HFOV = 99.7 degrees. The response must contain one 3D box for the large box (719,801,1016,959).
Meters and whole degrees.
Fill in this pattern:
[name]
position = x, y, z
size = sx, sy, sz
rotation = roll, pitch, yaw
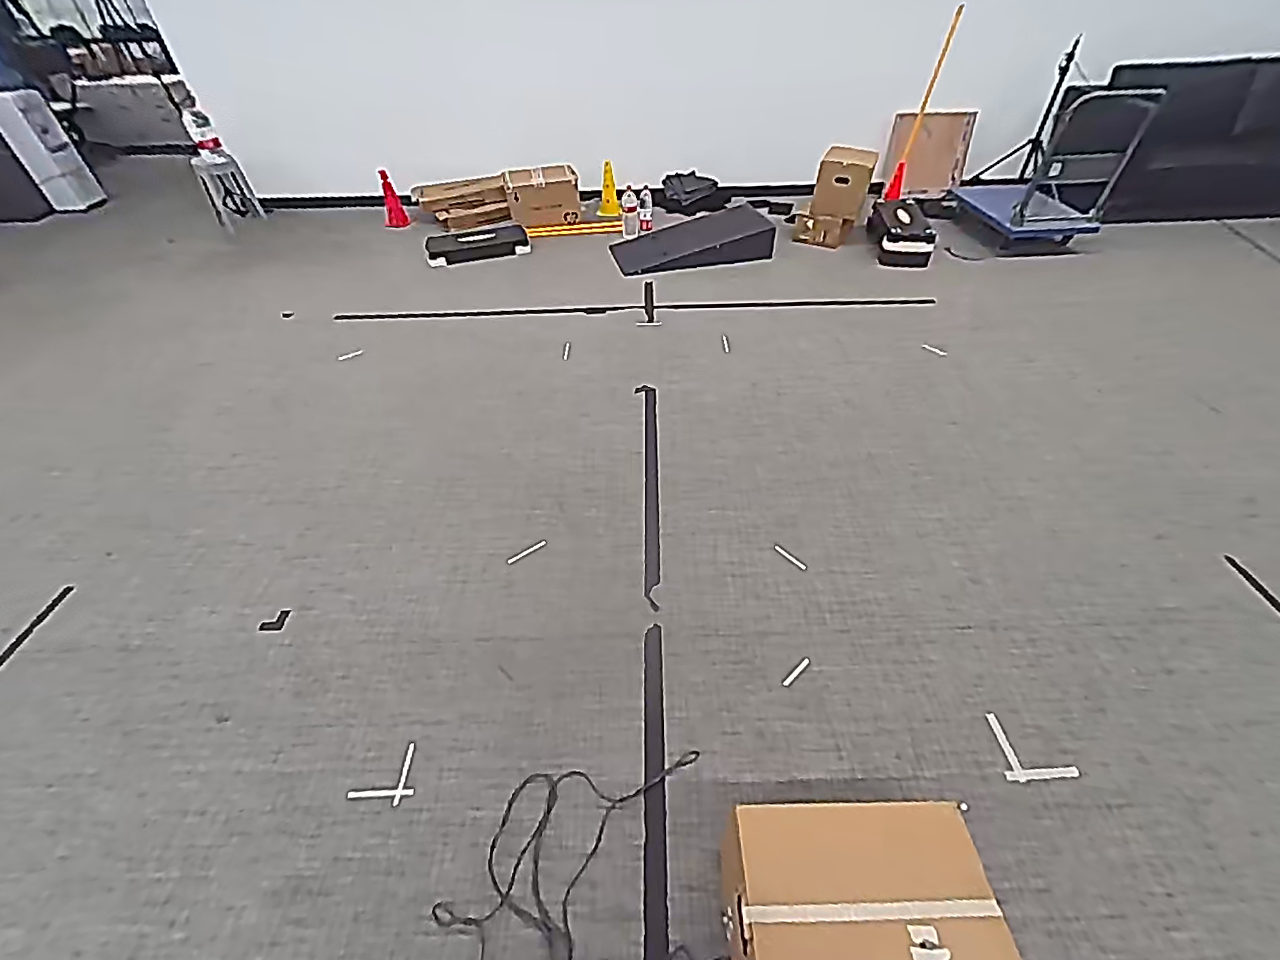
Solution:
[large box]
position = 0.373, 0.803, 0.967
size = 0.408, 0.320, 0.320
rotation = -1, 44, -1
